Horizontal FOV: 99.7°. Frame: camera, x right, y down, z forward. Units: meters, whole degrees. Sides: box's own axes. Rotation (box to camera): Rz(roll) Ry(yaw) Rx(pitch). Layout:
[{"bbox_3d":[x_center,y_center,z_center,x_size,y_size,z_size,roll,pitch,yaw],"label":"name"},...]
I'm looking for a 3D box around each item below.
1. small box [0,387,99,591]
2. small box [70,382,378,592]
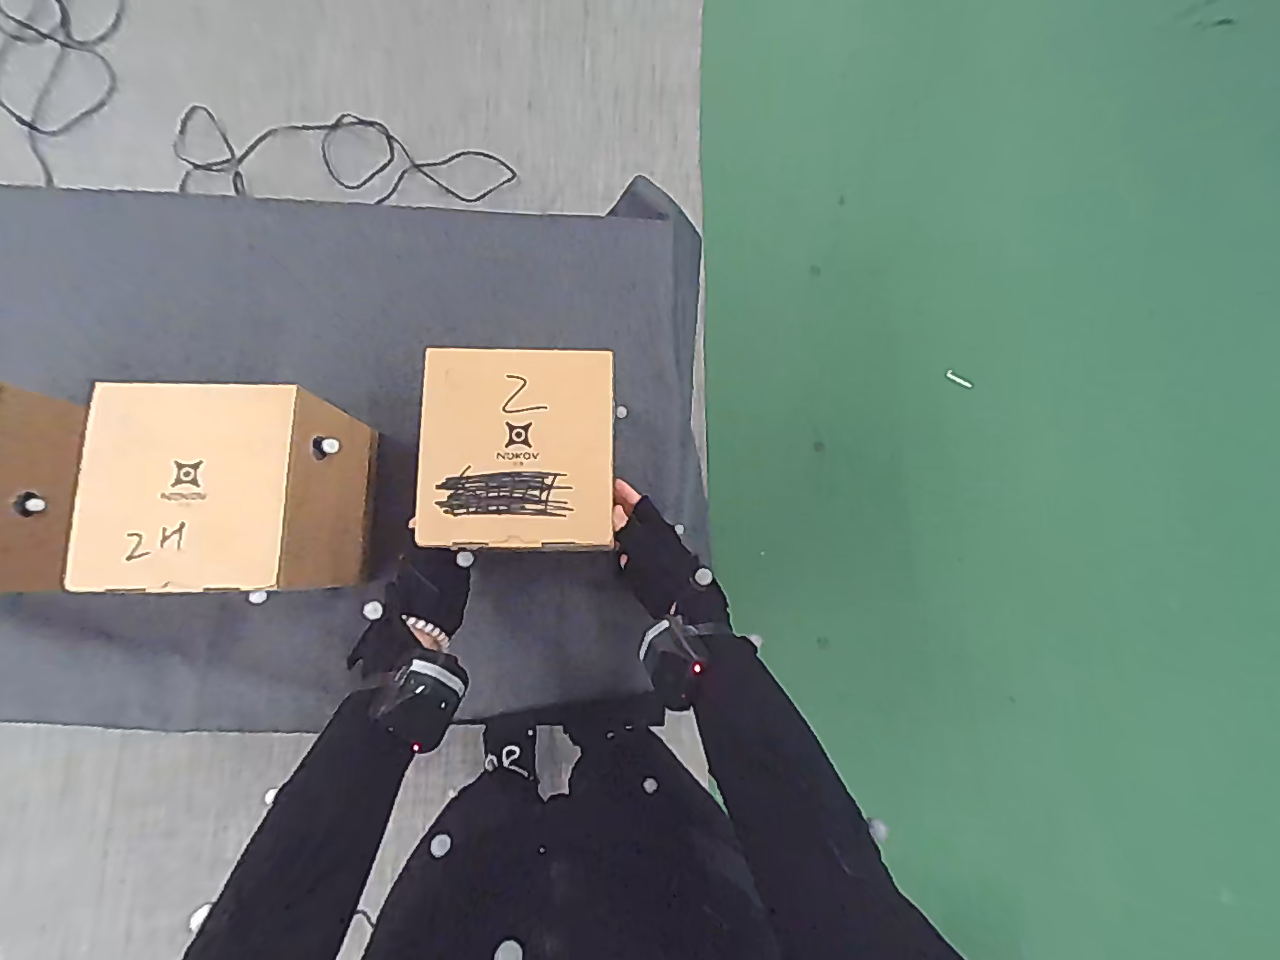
[{"bbox_3d":[-0.615,0.014,0.510,0.168,0.176,0.179,2,80,-3],"label":"small box"},{"bbox_3d":[-0.373,0.017,0.524,0.168,0.176,0.179,0,81,-3],"label":"small box"}]
